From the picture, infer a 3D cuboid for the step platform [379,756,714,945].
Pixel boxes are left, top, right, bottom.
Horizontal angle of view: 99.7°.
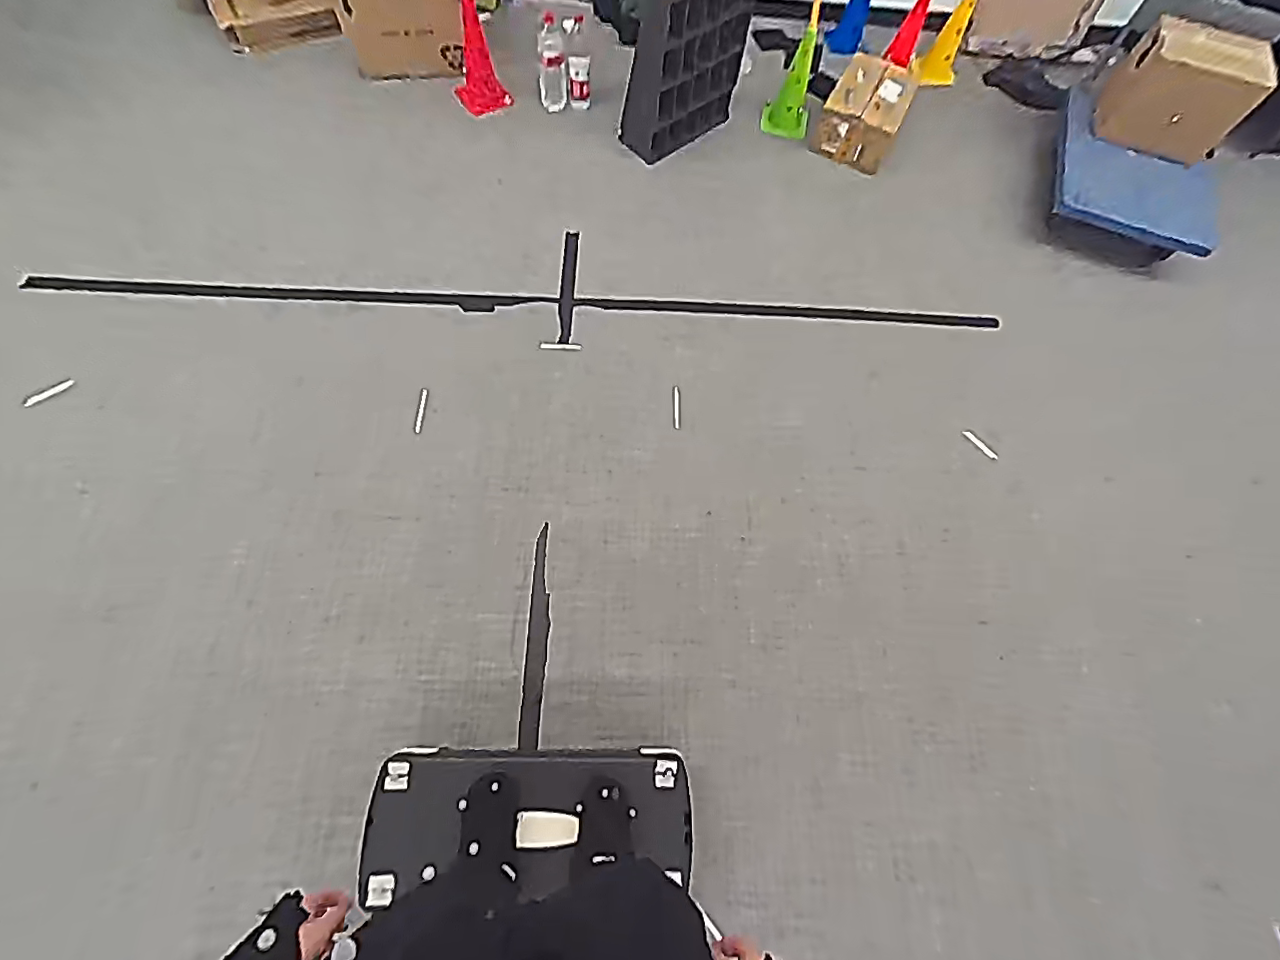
[{"bbox_3d":[-0.184,0.783,1.168,0.684,0.204,0.286,6,64,-3],"label":"step platform"}]
